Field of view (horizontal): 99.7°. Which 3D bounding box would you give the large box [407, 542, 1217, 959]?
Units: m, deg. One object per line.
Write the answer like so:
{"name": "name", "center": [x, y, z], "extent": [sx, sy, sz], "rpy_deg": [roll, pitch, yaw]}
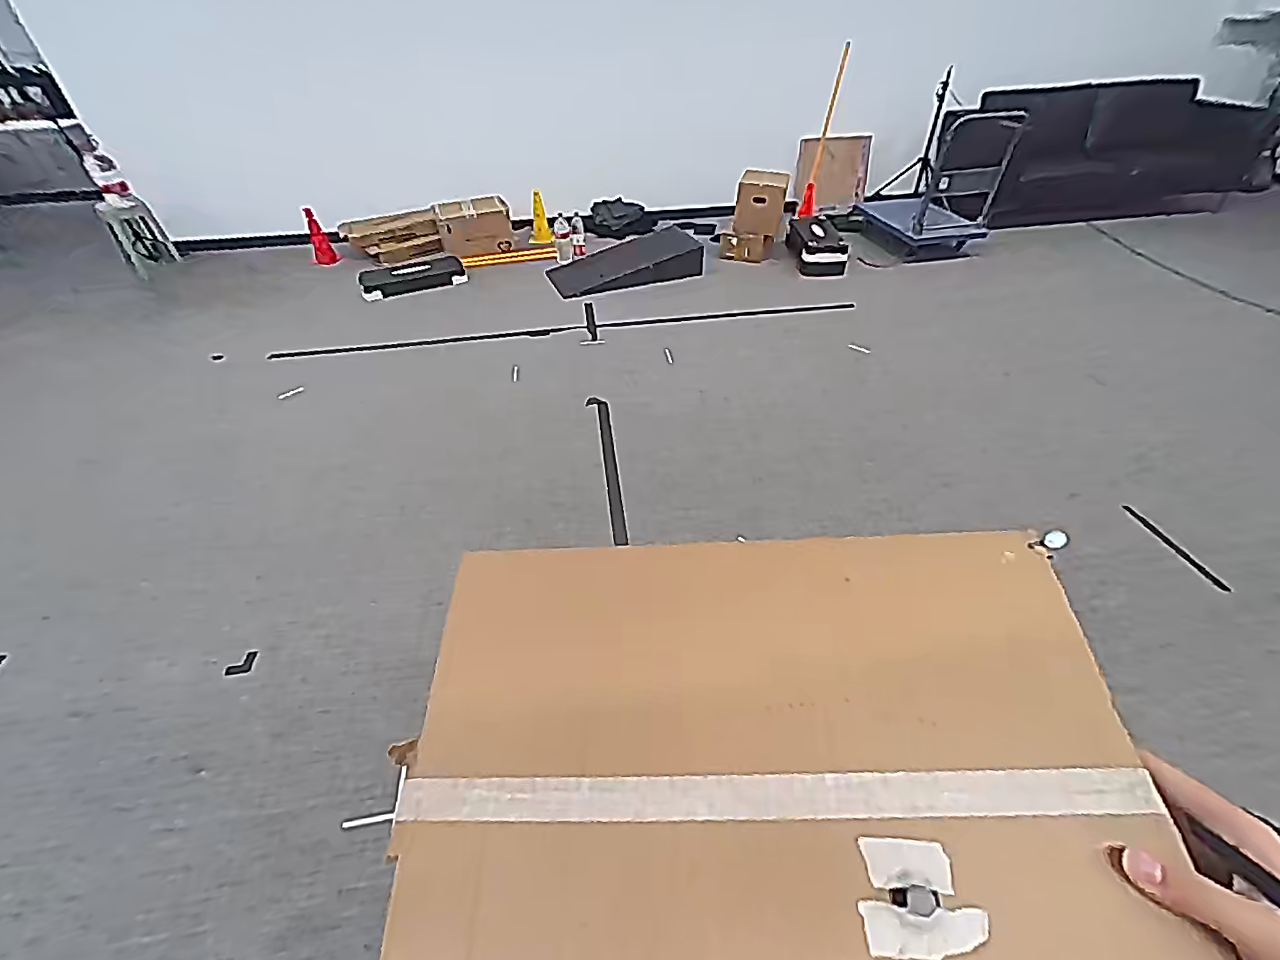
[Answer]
{"name": "large box", "center": [0.085, 0.265, 0.429], "extent": [0.408, 0.320, 0.320], "rpy_deg": [-3, 57, 3]}
